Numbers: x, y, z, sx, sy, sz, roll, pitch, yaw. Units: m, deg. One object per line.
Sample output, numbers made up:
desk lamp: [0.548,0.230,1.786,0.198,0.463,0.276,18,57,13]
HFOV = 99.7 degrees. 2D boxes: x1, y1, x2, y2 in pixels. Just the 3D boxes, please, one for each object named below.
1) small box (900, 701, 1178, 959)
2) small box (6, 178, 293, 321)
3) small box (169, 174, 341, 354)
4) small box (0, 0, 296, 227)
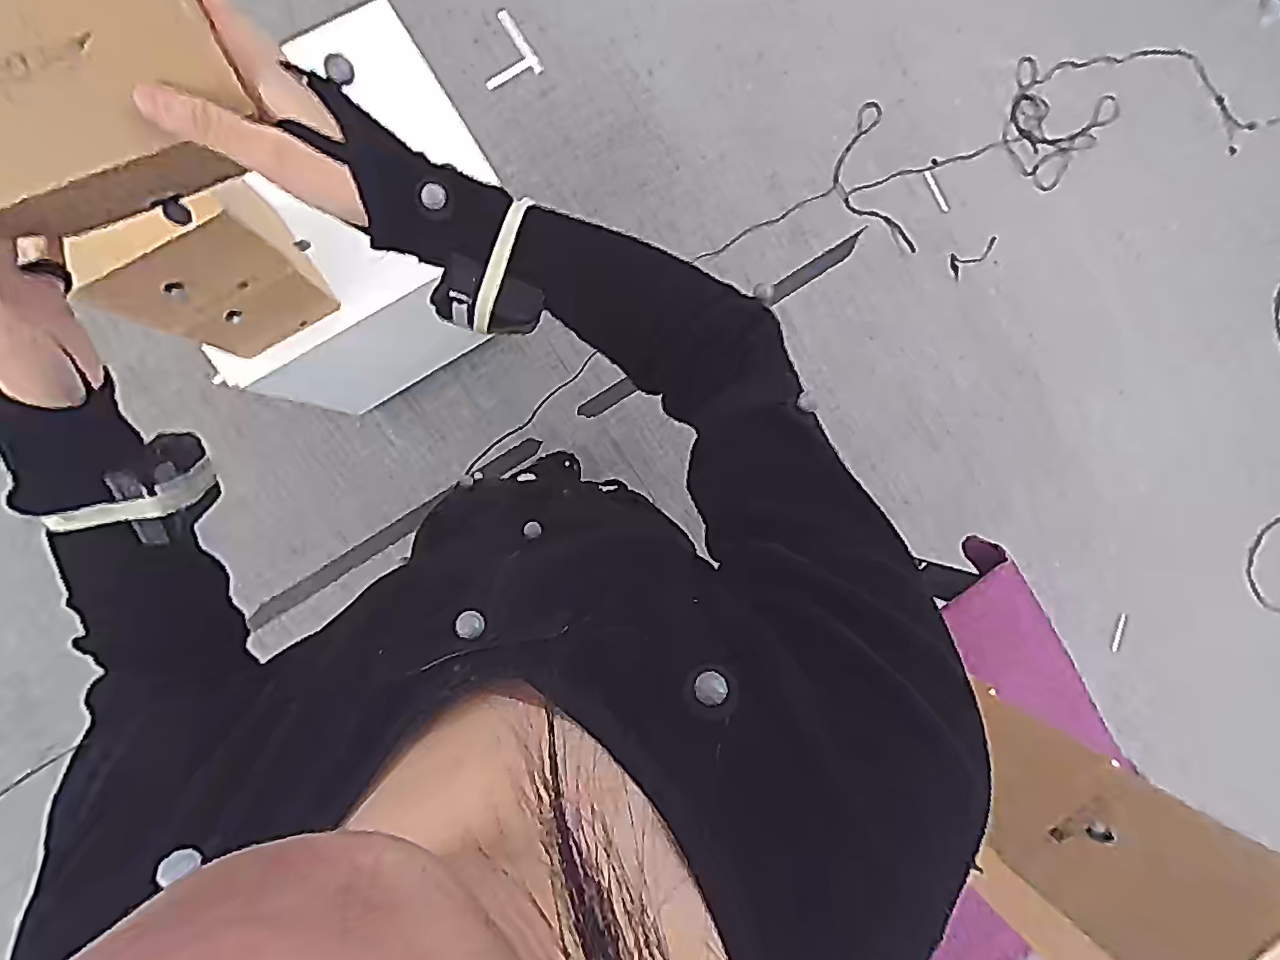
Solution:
small box: [0.455,0.403,0.640,0.168,0.176,0.179,-31,96,-8]
small box: [-0.519,-0.288,0.572,0.168,0.176,0.179,-34,97,-8]
small box: [-0.550,-0.296,0.732,0.168,0.176,0.179,-33,97,-8]
small box: [-0.318,-0.247,0.279,0.168,0.176,0.179,-28,122,-9]
